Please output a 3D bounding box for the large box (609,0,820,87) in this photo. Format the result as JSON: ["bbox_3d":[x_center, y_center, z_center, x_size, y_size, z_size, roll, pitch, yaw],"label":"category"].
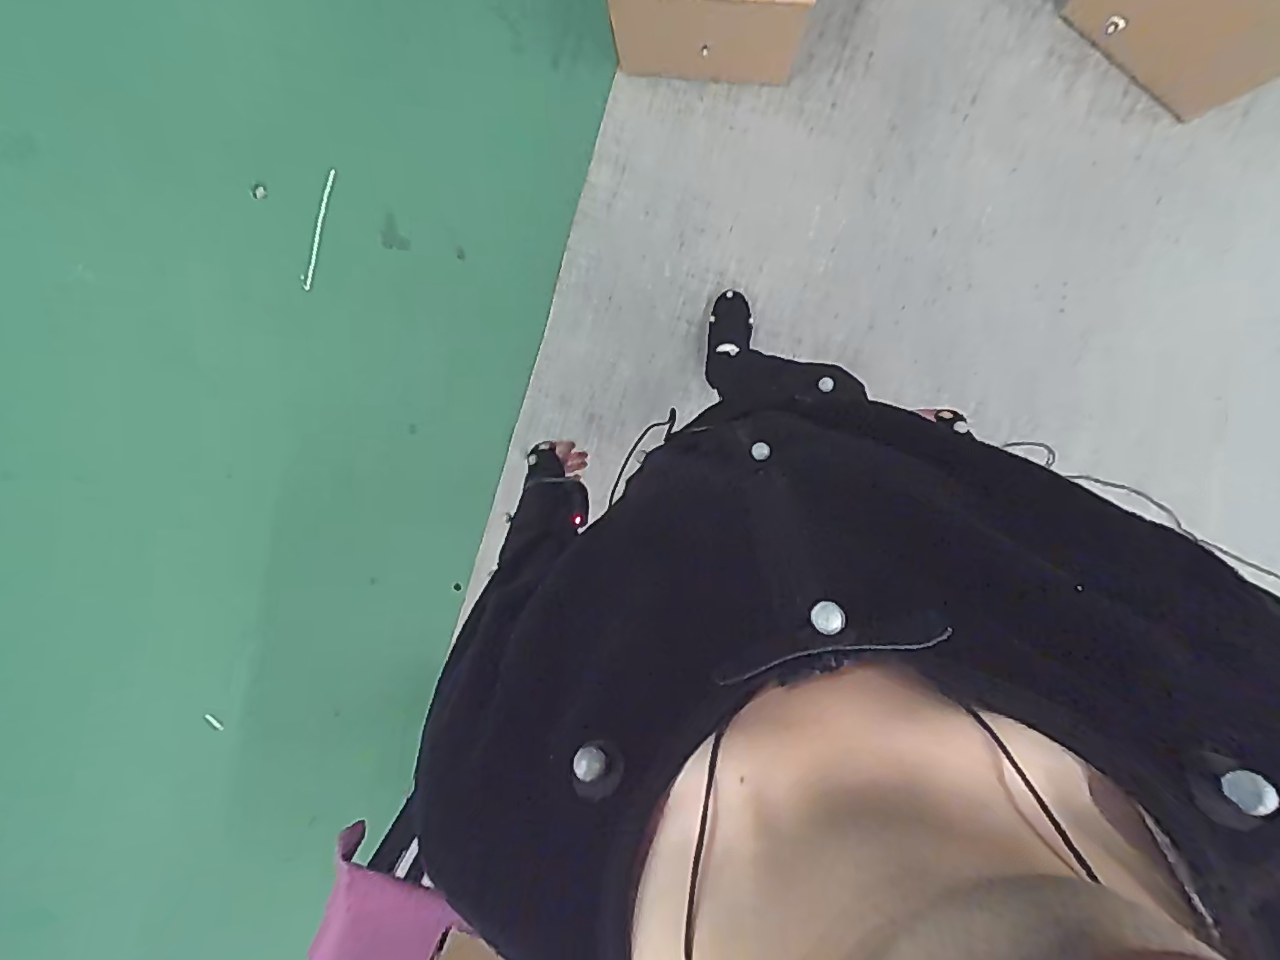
[{"bbox_3d":[0.165,-1.078,1.136,0.408,0.320,0.320,6,101,5],"label":"large box"}]
